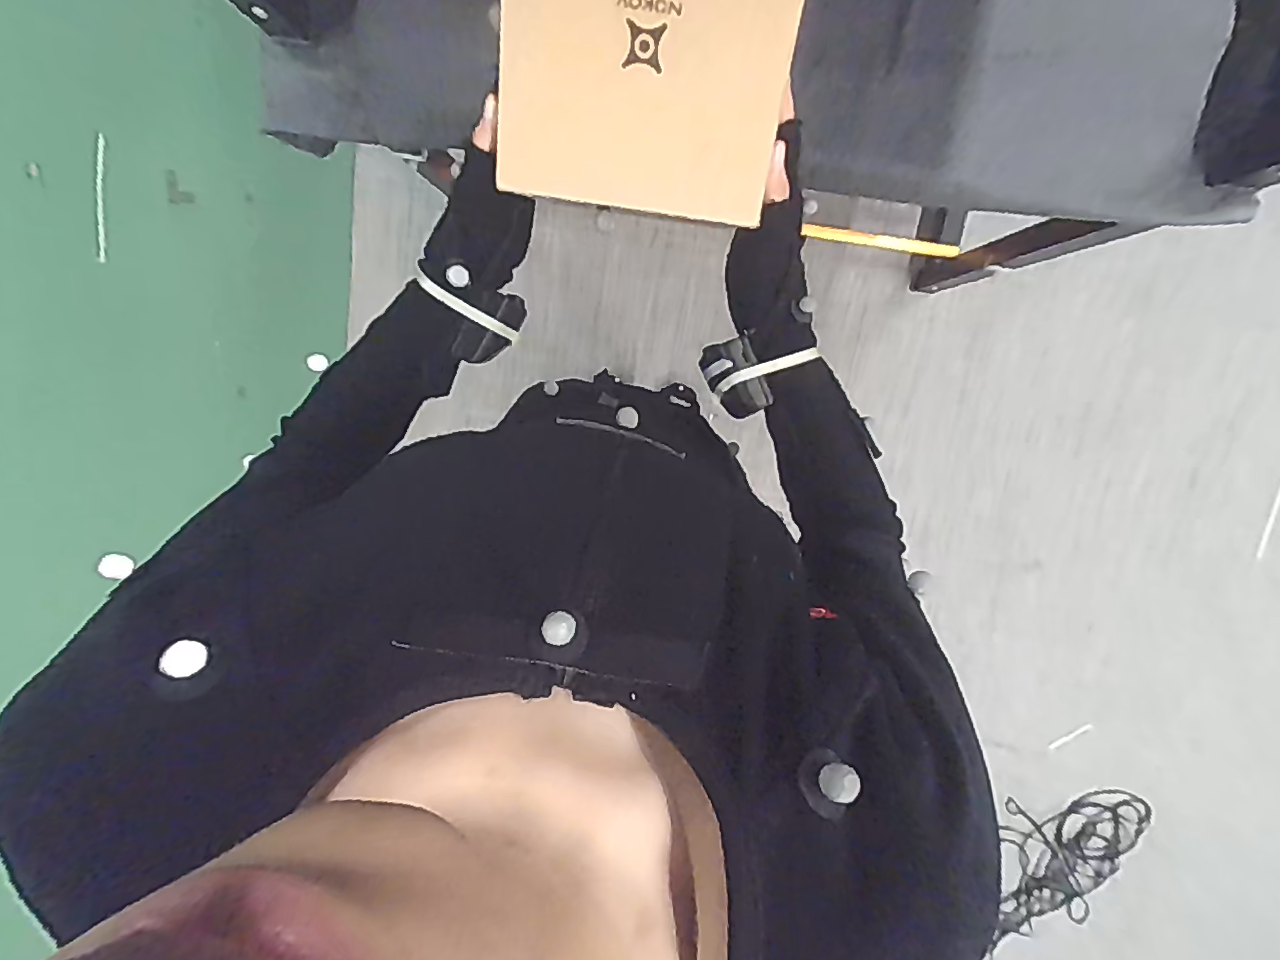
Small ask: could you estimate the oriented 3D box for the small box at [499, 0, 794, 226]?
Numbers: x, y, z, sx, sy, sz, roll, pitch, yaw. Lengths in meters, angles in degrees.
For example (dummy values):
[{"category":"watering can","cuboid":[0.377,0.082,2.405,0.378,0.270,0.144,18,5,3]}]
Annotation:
[{"category":"small box","cuboid":[0.008,-0.286,0.382,0.168,0.176,0.179,8,112,0]}]
